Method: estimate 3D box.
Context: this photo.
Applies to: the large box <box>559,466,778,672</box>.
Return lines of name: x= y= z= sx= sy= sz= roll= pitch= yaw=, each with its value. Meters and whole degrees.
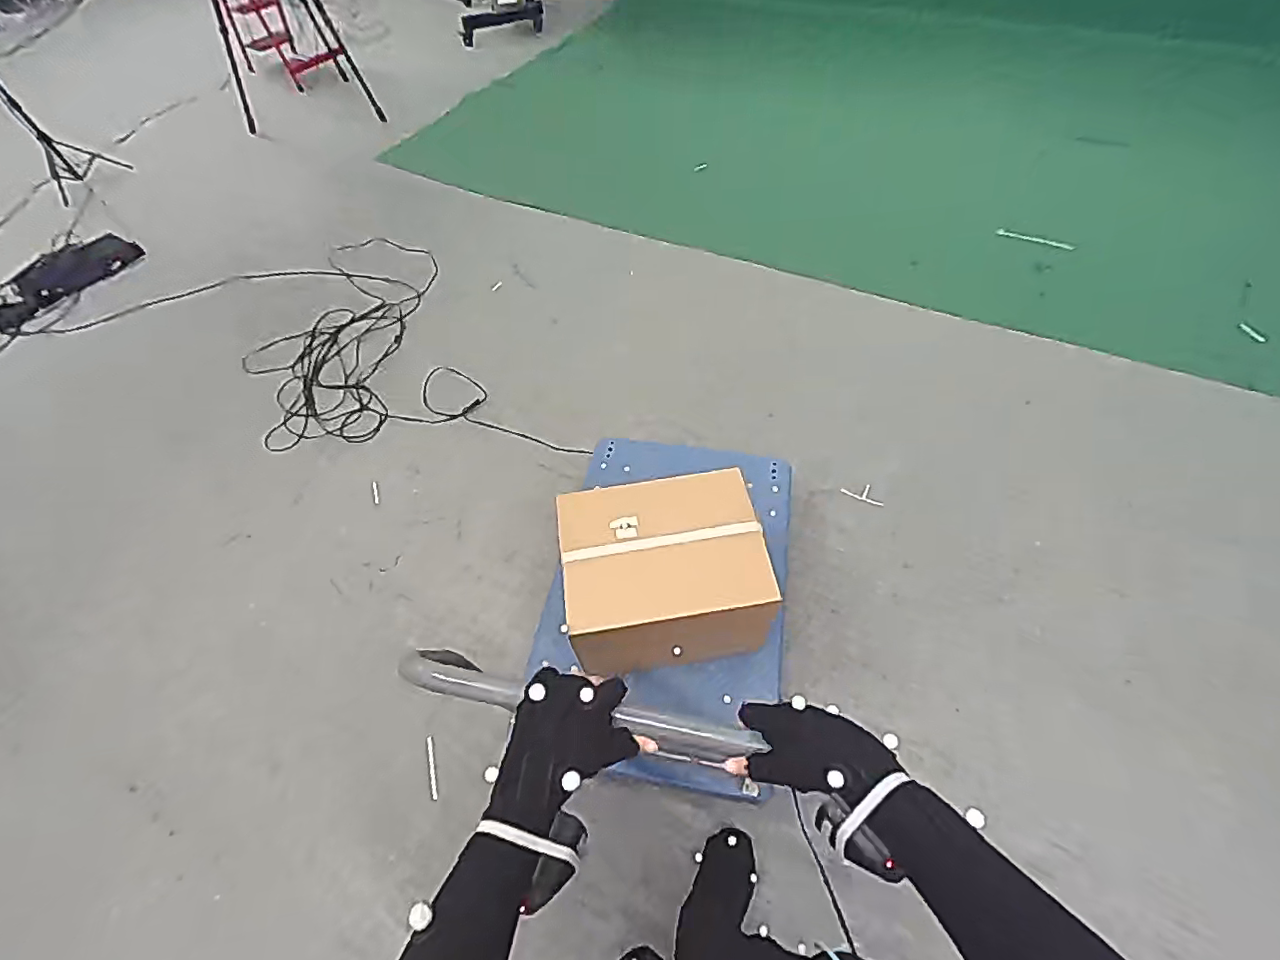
large box: x=0.055 y=0.209 z=1.217 sx=0.408 sy=0.320 sz=0.320 roll=-9 pitch=55 yaw=-2
